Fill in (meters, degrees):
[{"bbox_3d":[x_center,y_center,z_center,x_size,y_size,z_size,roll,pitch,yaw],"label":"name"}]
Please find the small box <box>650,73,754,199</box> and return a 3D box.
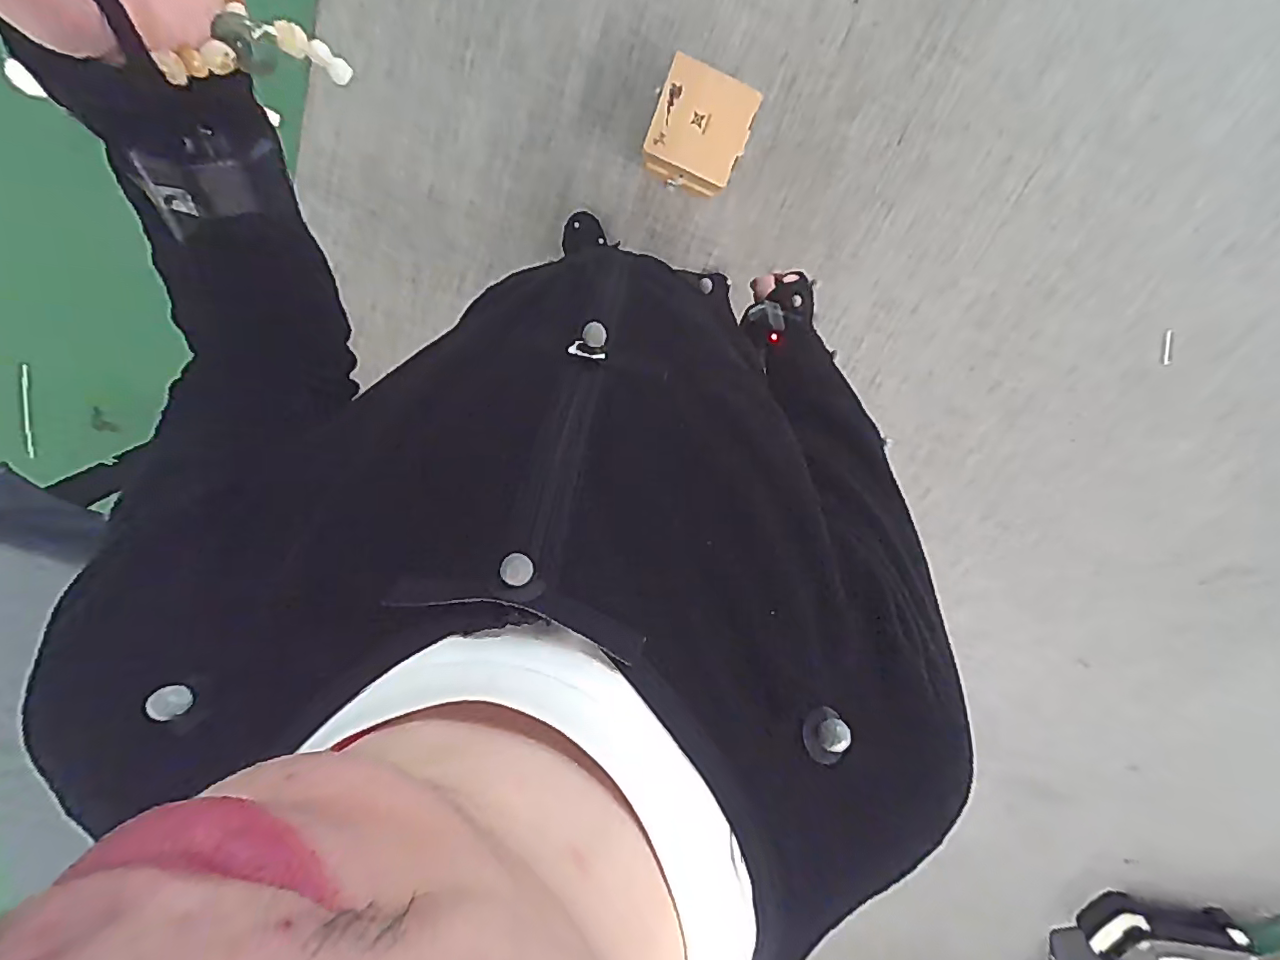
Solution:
[{"bbox_3d":[0.129,-0.753,1.207,0.168,0.176,0.179,23,114,-8],"label":"small box"}]
